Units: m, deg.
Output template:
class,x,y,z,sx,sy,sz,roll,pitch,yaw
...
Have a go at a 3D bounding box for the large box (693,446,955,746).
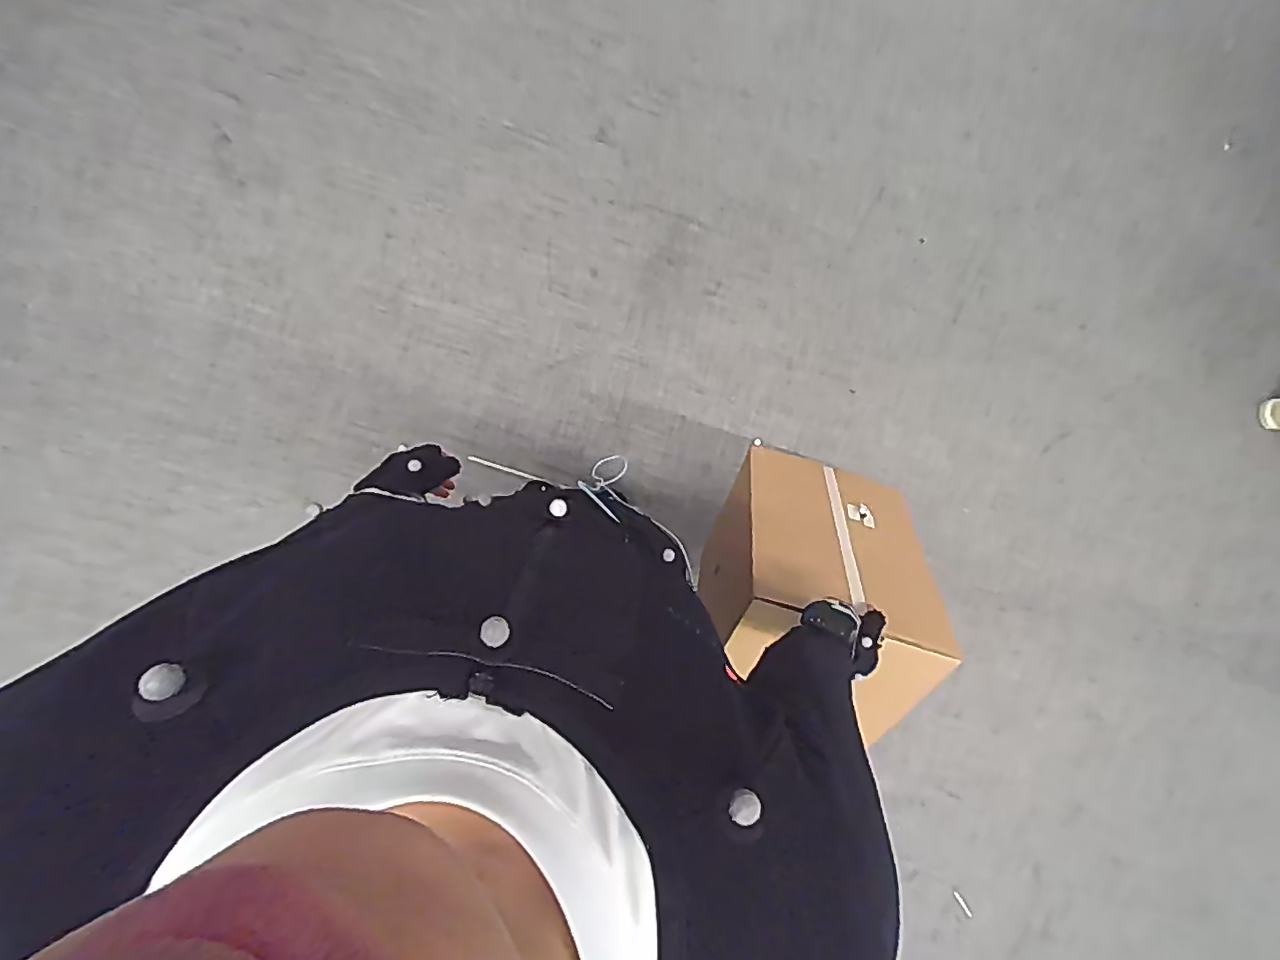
class,x,y,z,sx,sy,sz,roll,pitch,yaw
large box,0.298,0.203,1.011,0.320,0.408,0.320,18,127,-2
